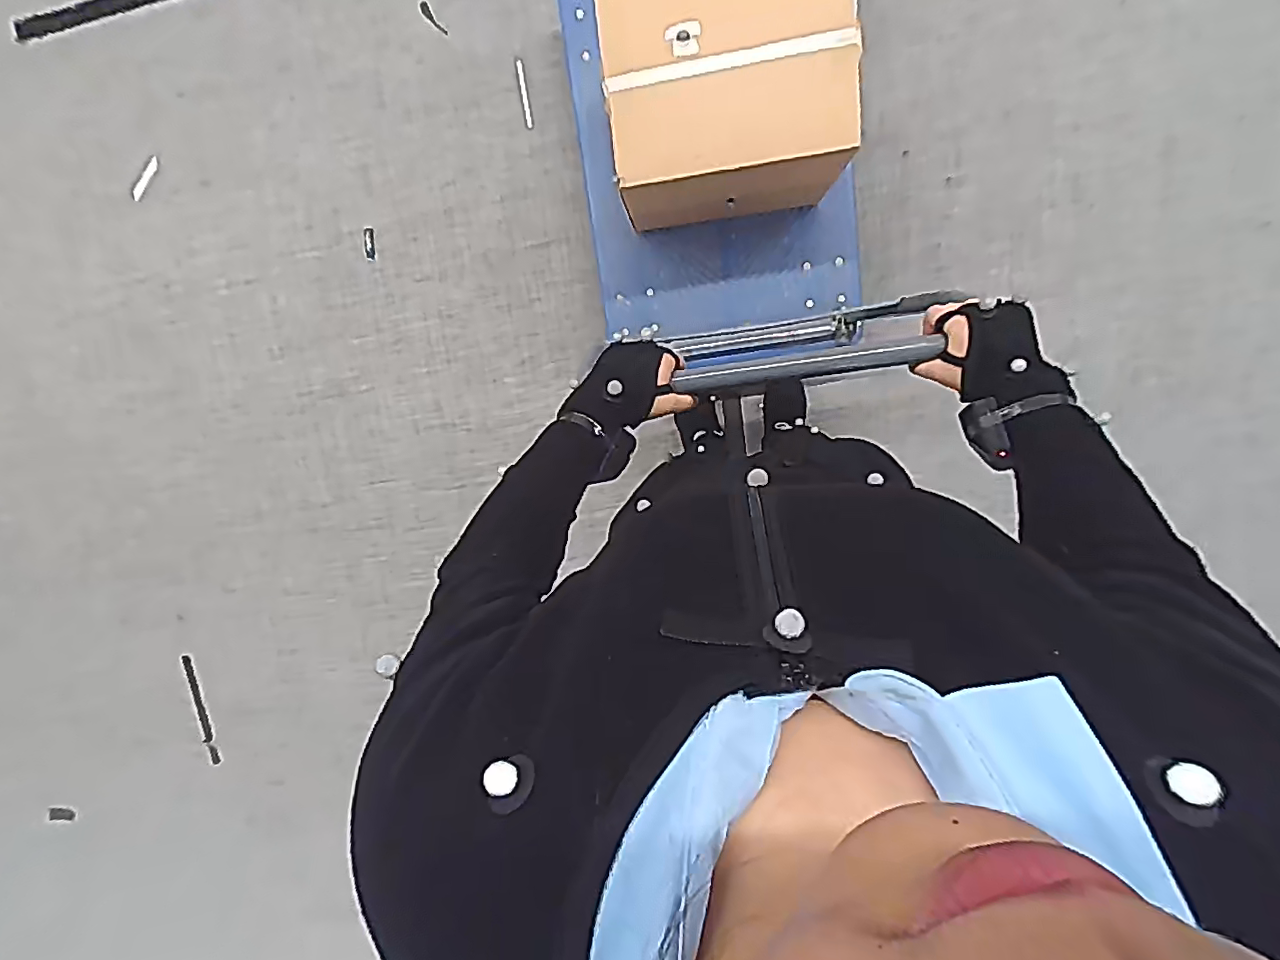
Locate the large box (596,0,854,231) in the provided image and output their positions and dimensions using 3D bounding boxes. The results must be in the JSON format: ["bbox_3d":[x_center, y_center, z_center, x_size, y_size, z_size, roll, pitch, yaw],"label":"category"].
[{"bbox_3d":[0.158,-0.707,1.041,0.408,0.320,0.320,-6,100,8],"label":"large box"}]
